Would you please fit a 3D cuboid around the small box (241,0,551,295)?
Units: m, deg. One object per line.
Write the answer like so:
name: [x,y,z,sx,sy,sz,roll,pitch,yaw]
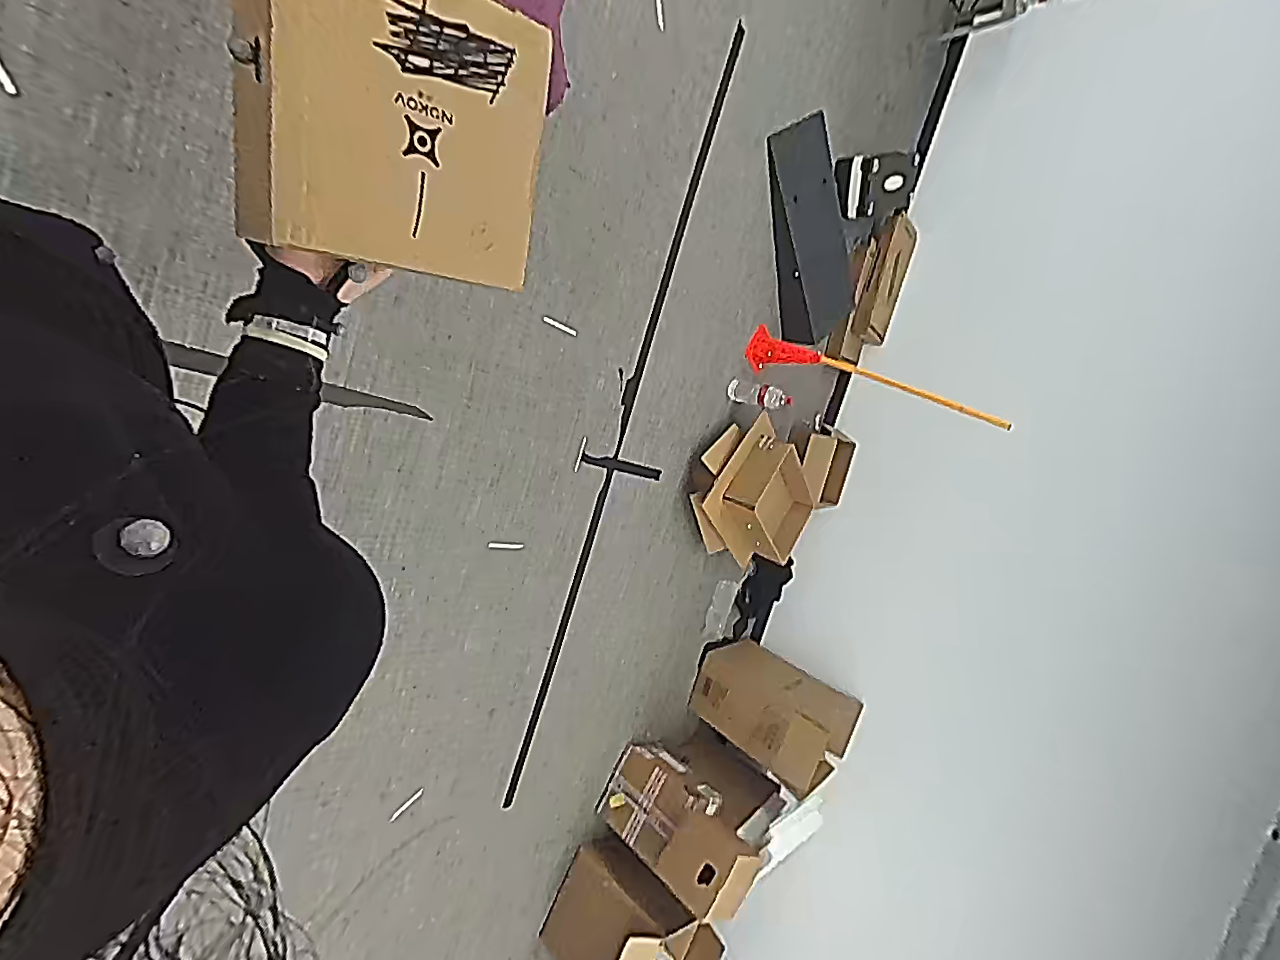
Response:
small box: [-0.190,-0.251,0.408,0.168,0.176,0.179,-4,112,-42]
